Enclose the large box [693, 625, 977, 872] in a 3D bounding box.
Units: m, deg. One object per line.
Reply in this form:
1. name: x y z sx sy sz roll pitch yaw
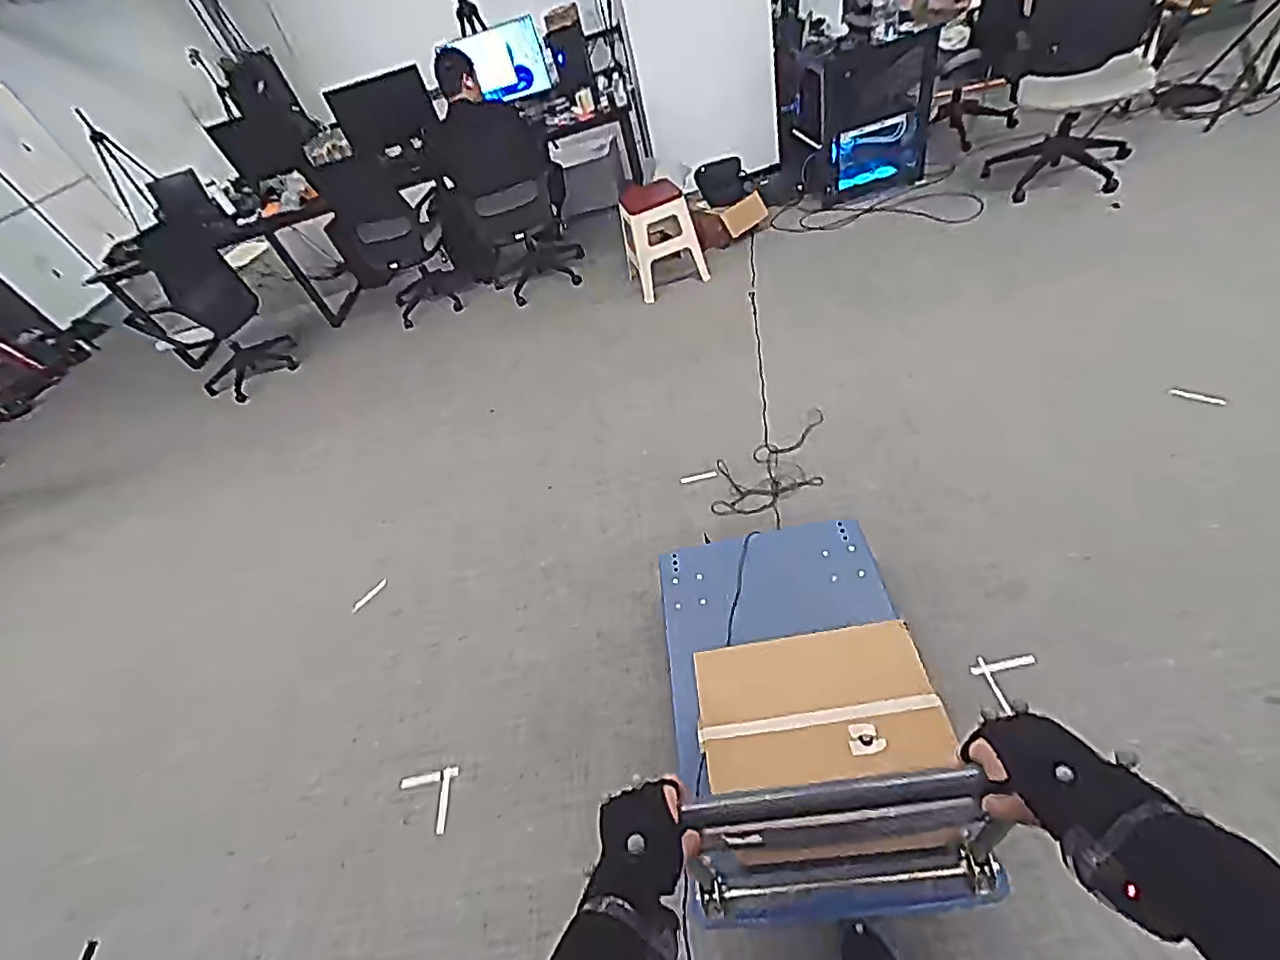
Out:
1. large box: 0.338 0.521 1.036 0.408 0.320 0.320 -11 46 8
